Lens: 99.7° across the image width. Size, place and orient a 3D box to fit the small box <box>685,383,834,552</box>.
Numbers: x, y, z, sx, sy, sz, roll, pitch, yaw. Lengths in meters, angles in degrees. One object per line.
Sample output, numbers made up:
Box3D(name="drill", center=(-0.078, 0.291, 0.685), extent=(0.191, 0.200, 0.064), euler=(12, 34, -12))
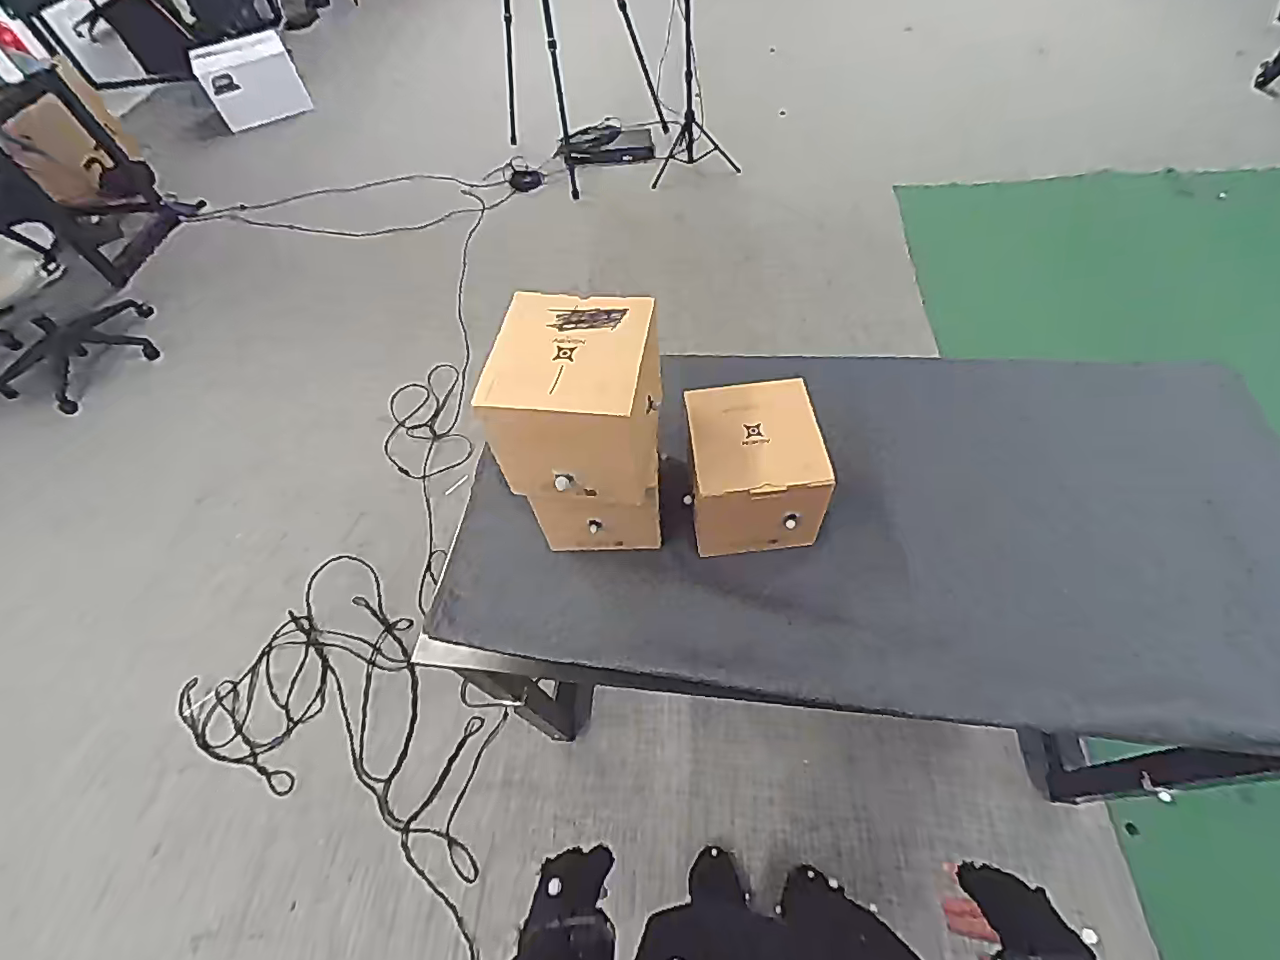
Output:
Box3D(name="small box", center=(0.155, -0.010, 0.759), extent=(0.168, 0.176, 0.179), euler=(-6, 55, 1))

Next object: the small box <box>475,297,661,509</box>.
Box3D(name="small box", center=(-0.067, -0.089, 0.636), extent=(0.168, 0.176, 0.179), euler=(5, 57, 9))
